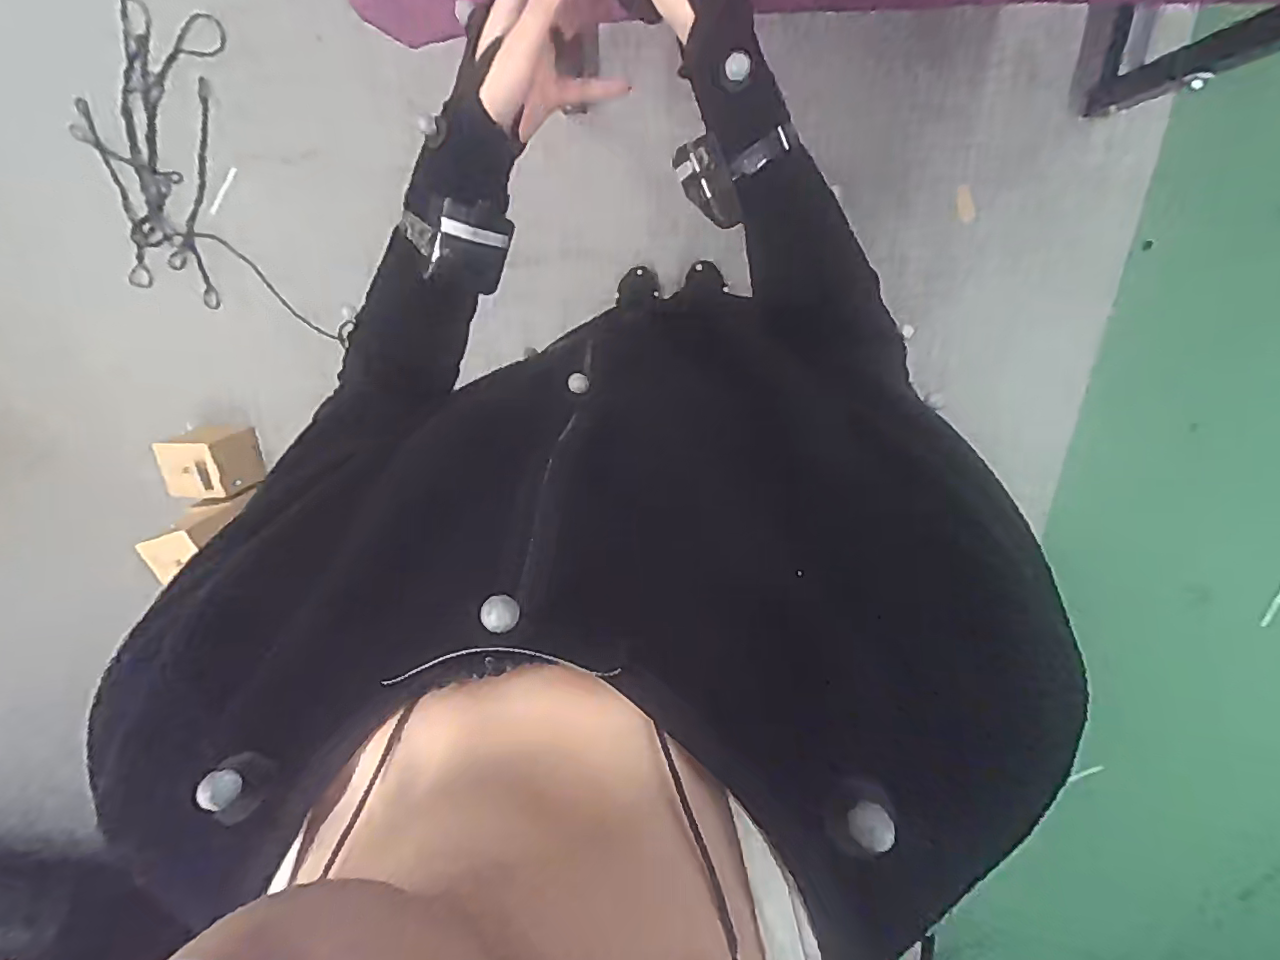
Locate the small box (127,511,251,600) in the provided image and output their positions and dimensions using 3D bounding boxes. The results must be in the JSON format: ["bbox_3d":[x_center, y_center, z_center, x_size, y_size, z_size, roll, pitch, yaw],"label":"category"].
[{"bbox_3d":[-1.228,0.204,1.495,0.179,0.176,0.168,-15,109,12],"label":"small box"}]
